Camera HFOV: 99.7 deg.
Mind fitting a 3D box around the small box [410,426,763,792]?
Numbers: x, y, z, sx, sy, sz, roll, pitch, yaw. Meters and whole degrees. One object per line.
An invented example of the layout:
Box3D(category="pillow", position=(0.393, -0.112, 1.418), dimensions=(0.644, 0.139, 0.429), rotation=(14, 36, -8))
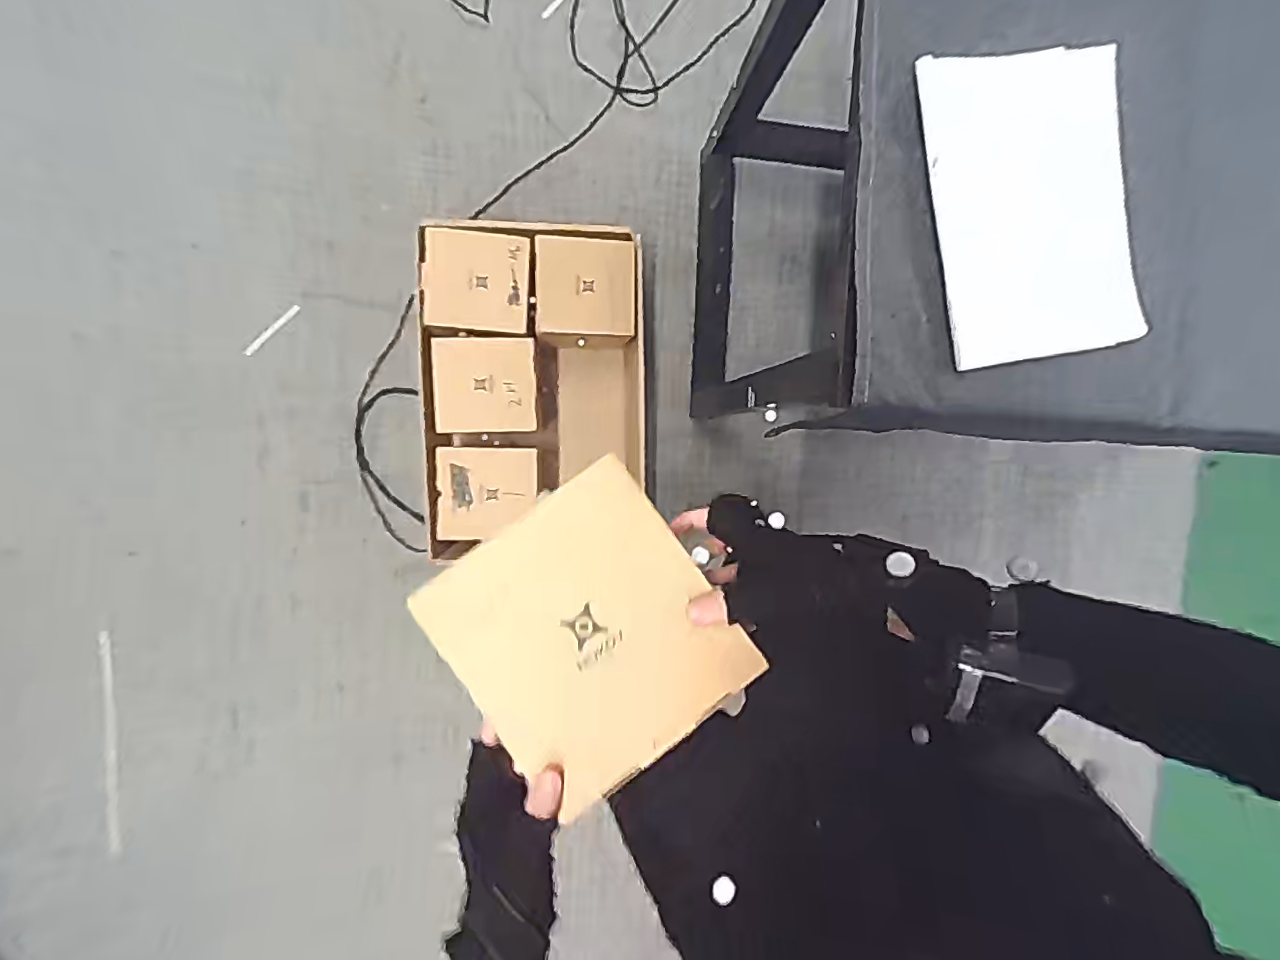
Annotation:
Box3D(category="small box", position=(-0.039, 0.087, 0.422), dimensions=(0.168, 0.176, 0.179), rotation=(-34, 86, -6))
